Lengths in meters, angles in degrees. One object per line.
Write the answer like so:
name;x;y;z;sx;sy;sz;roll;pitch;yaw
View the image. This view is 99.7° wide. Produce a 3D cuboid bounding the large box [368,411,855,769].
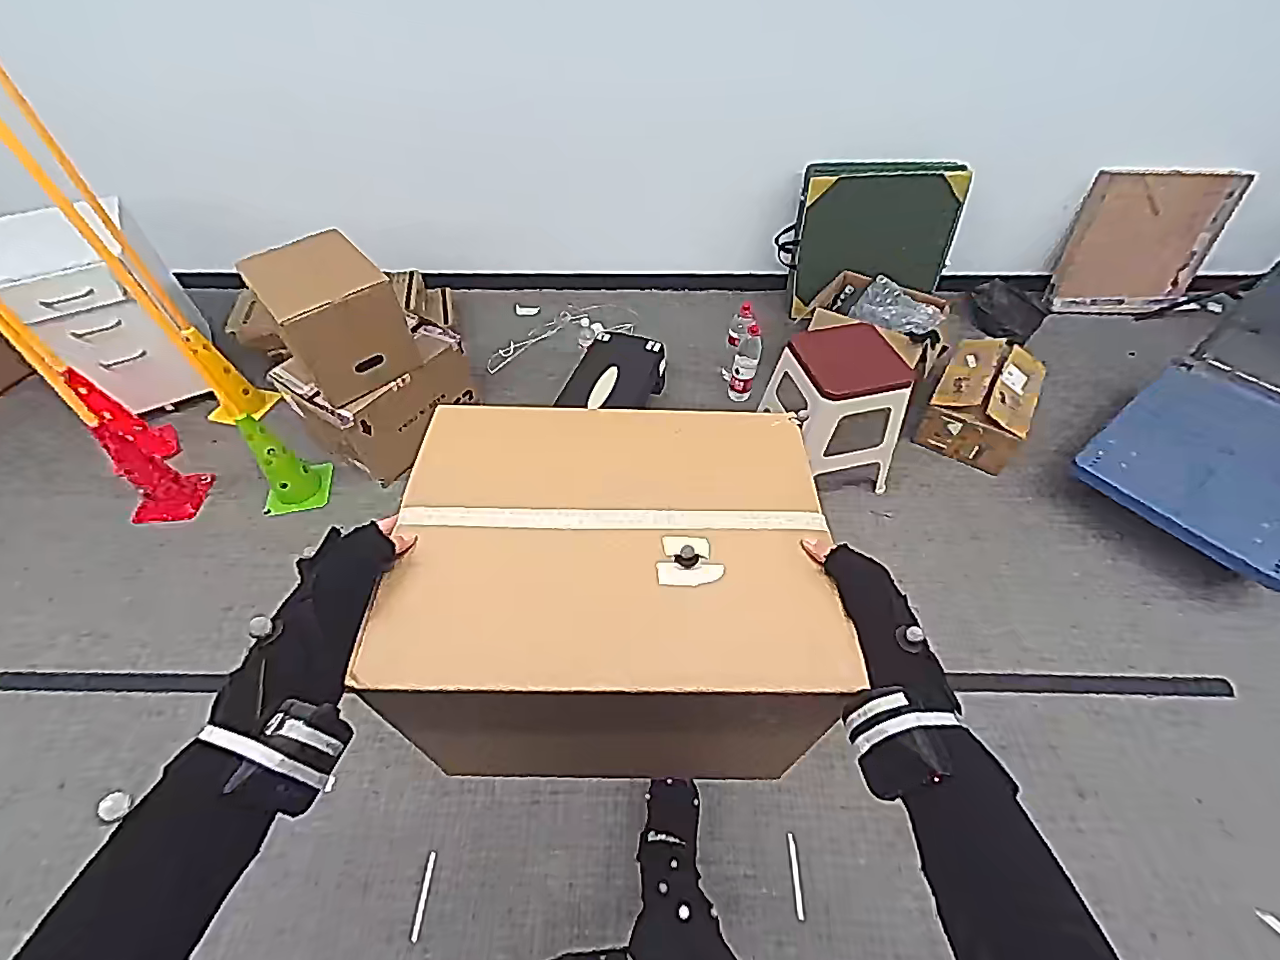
large box;-0.028;0.136;0.642;0.408;0.320;0.320;2;50;-1
